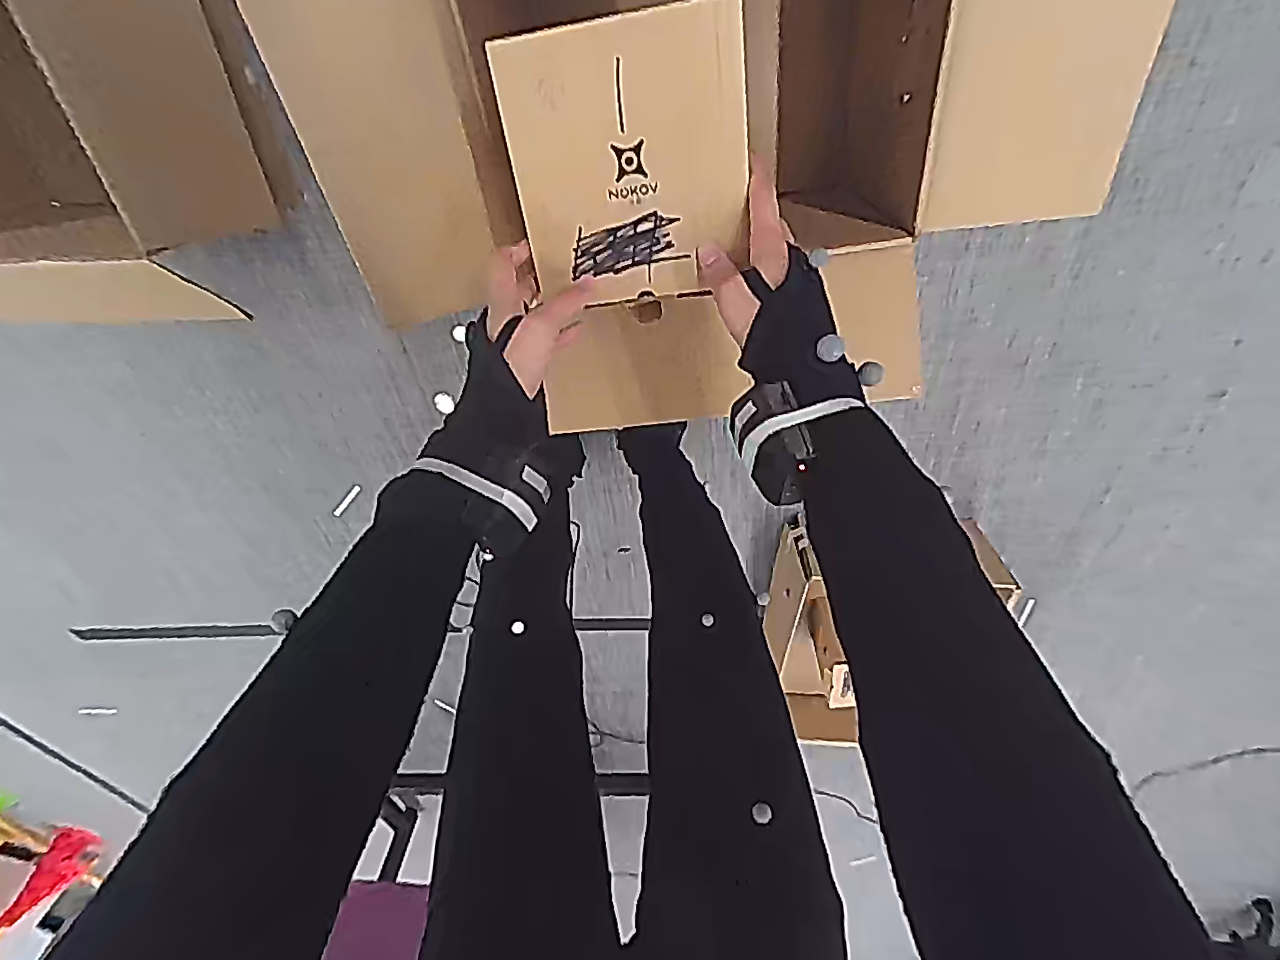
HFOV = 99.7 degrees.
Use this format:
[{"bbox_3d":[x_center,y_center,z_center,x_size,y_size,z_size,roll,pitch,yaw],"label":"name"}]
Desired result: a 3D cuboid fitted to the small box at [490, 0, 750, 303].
[{"bbox_3d":[0.003,-0.261,0.445,0.168,0.176,0.179,-4,120,9],"label":"small box"}]
